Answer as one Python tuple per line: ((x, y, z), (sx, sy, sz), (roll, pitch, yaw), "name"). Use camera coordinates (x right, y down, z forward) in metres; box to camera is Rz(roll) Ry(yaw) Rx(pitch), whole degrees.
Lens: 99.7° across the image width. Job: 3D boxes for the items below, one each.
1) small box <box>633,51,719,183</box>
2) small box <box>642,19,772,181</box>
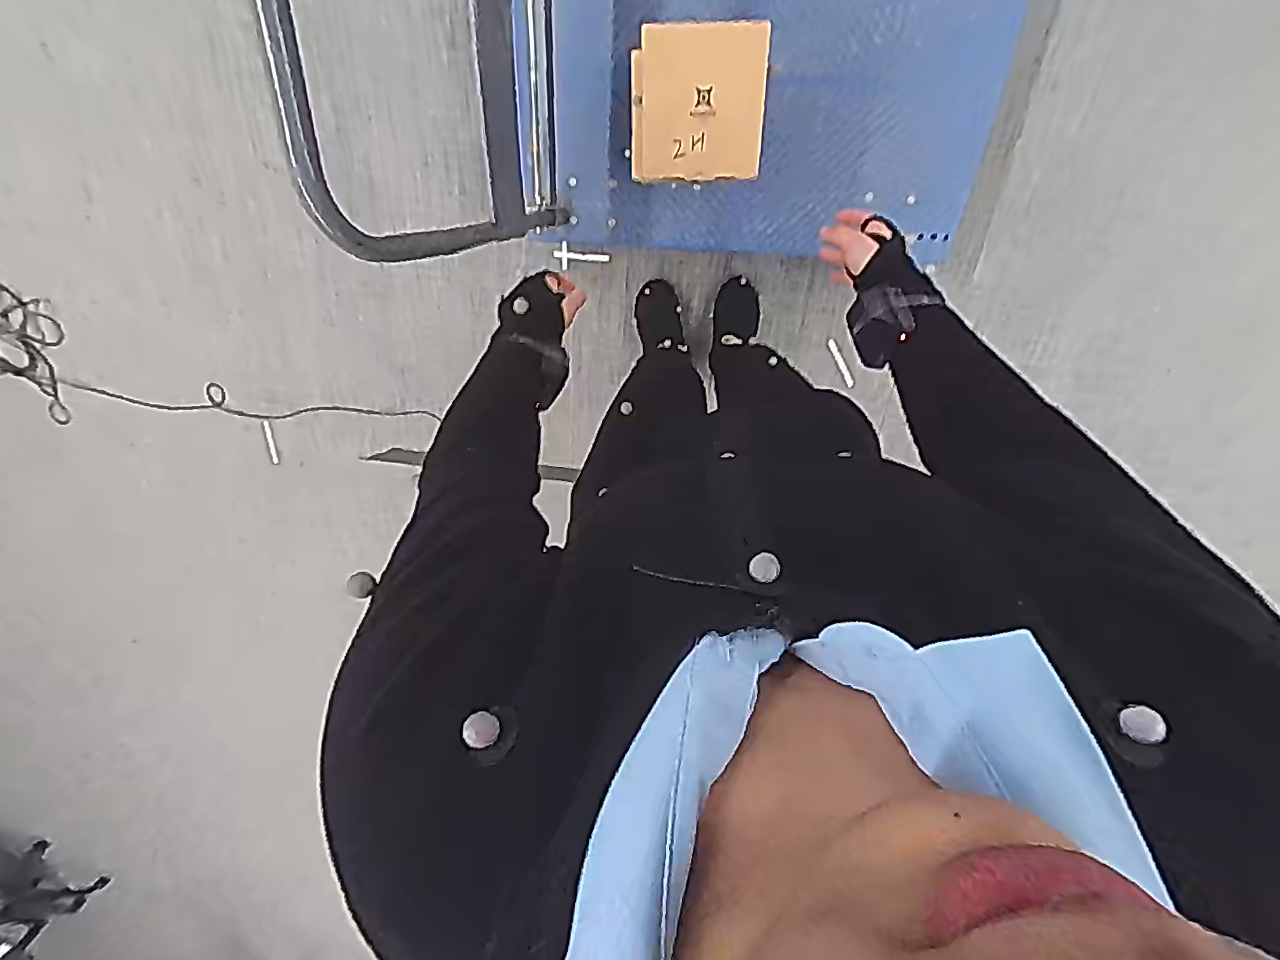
((0.074, -0.620, 0.939), (0.168, 0.176, 0.179), (1, 119, 4), "small box")
((0.089, -0.541, 0.793), (0.168, 0.176, 0.179), (2, 119, 4), "small box")
